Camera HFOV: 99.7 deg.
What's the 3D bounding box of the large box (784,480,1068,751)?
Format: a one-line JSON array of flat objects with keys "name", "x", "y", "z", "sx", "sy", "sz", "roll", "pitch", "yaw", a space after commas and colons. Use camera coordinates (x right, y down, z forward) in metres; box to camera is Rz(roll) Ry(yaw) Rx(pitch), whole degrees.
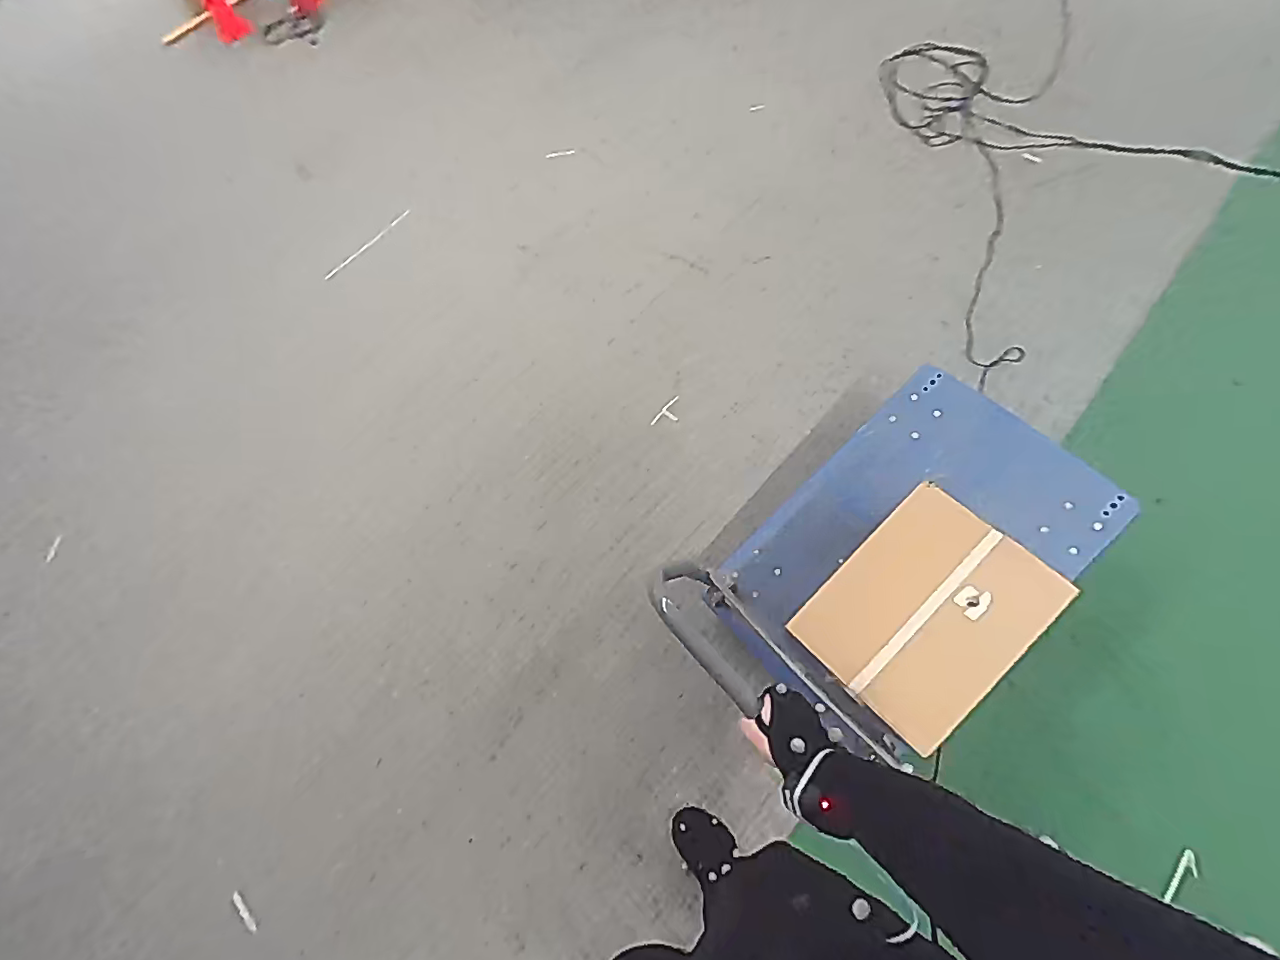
[{"name": "large box", "x": 0.550, "y": 0.280, "z": 1.131, "sx": 0.408, "sy": 0.320, "sz": 0.320, "roll": -45, "pitch": 68, "yaw": -3}]
